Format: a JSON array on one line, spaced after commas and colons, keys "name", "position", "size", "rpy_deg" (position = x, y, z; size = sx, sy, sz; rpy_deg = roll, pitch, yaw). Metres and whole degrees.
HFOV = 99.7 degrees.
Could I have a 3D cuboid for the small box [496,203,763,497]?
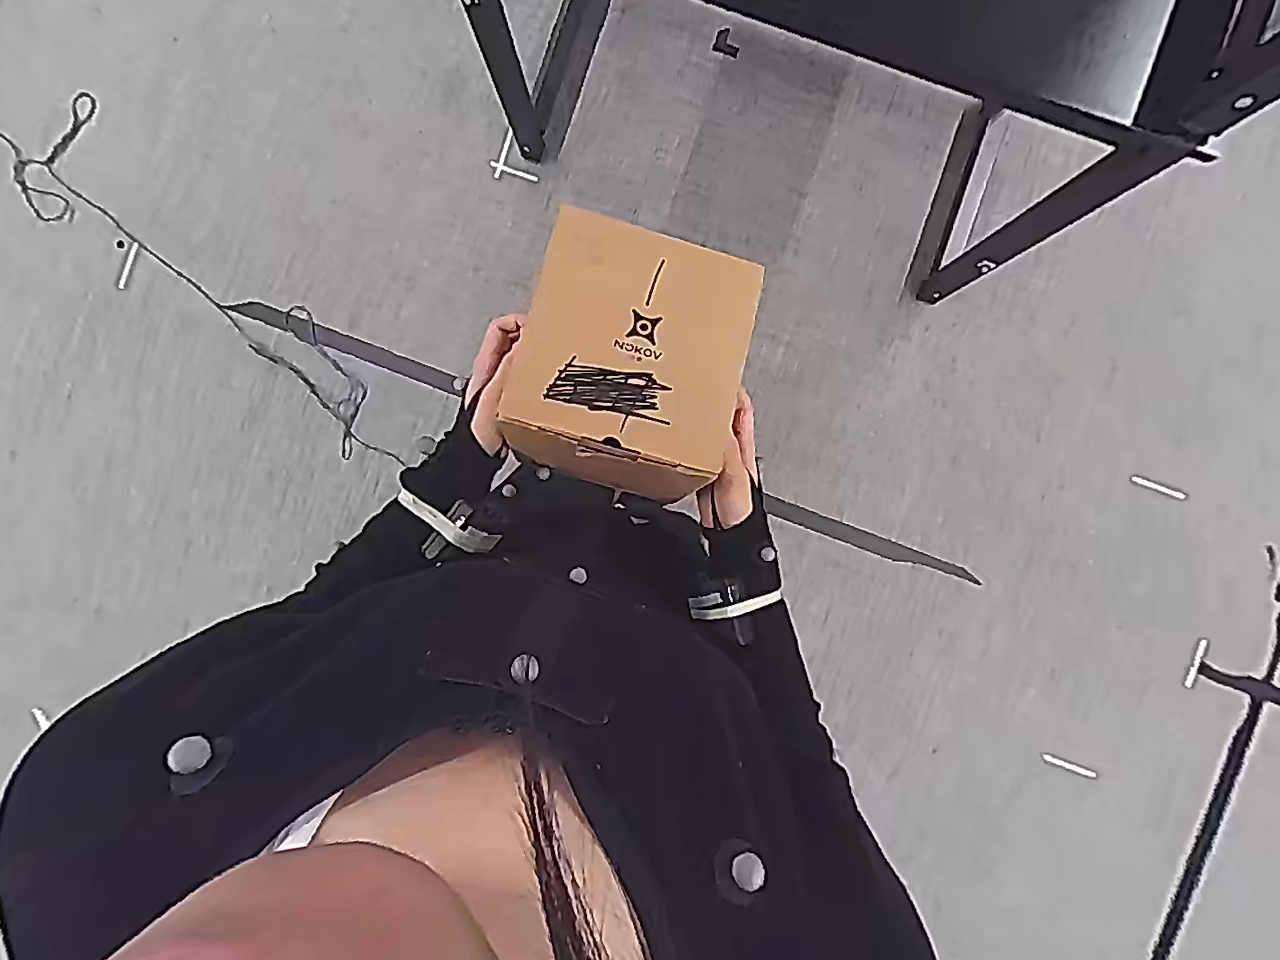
[{"name": "small box", "position": [-0.013, -0.093, 0.475], "size": [0.168, 0.176, 0.179], "rpy_deg": [16, 78, -6]}]
